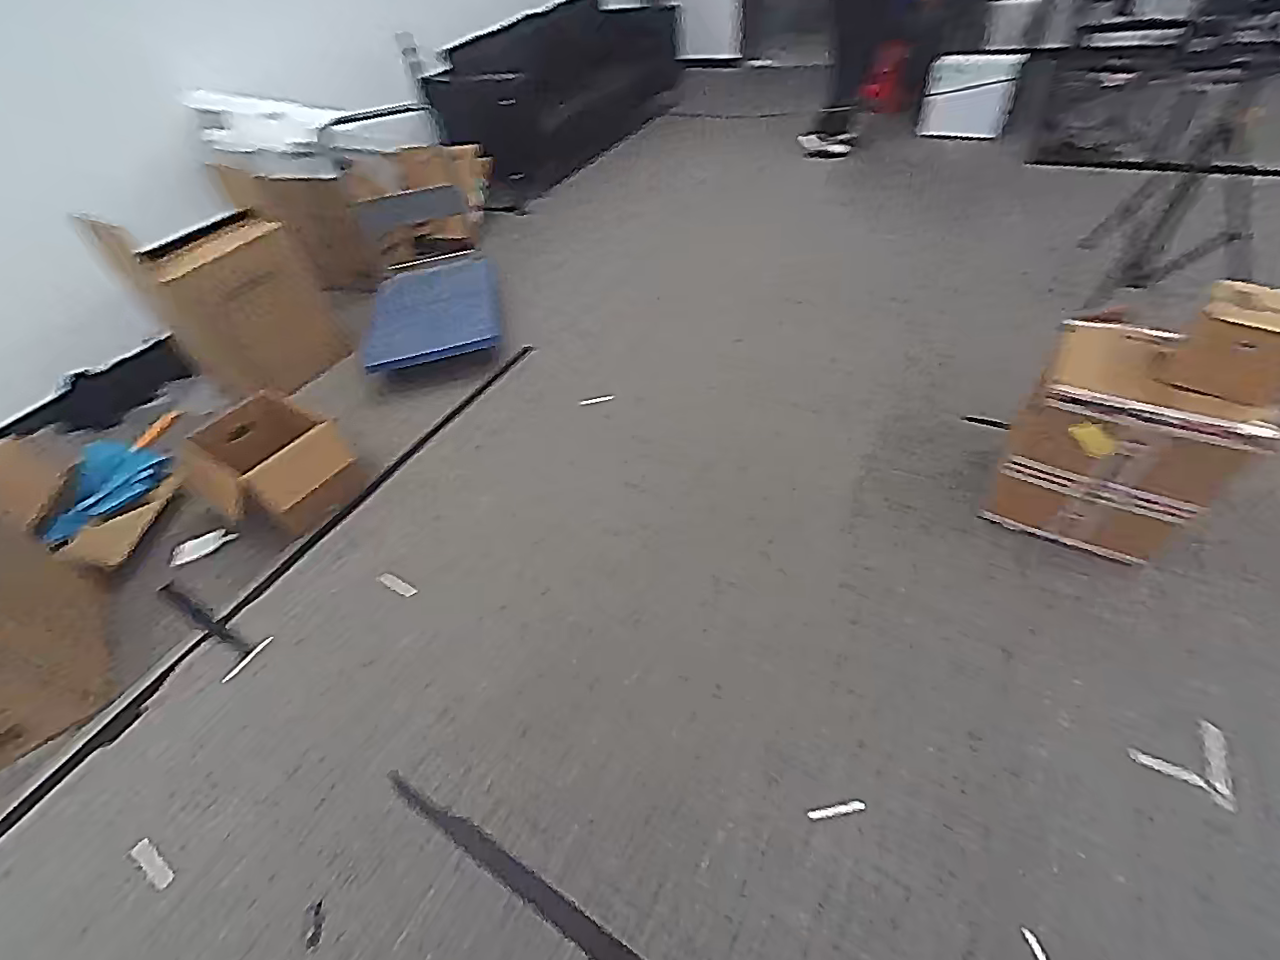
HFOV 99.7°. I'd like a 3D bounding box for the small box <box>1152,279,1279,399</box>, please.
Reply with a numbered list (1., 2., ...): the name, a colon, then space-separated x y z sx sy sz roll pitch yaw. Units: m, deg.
1. small box: 1.261 -0.301 1.163 0.179 0.176 0.168 26 58 26
